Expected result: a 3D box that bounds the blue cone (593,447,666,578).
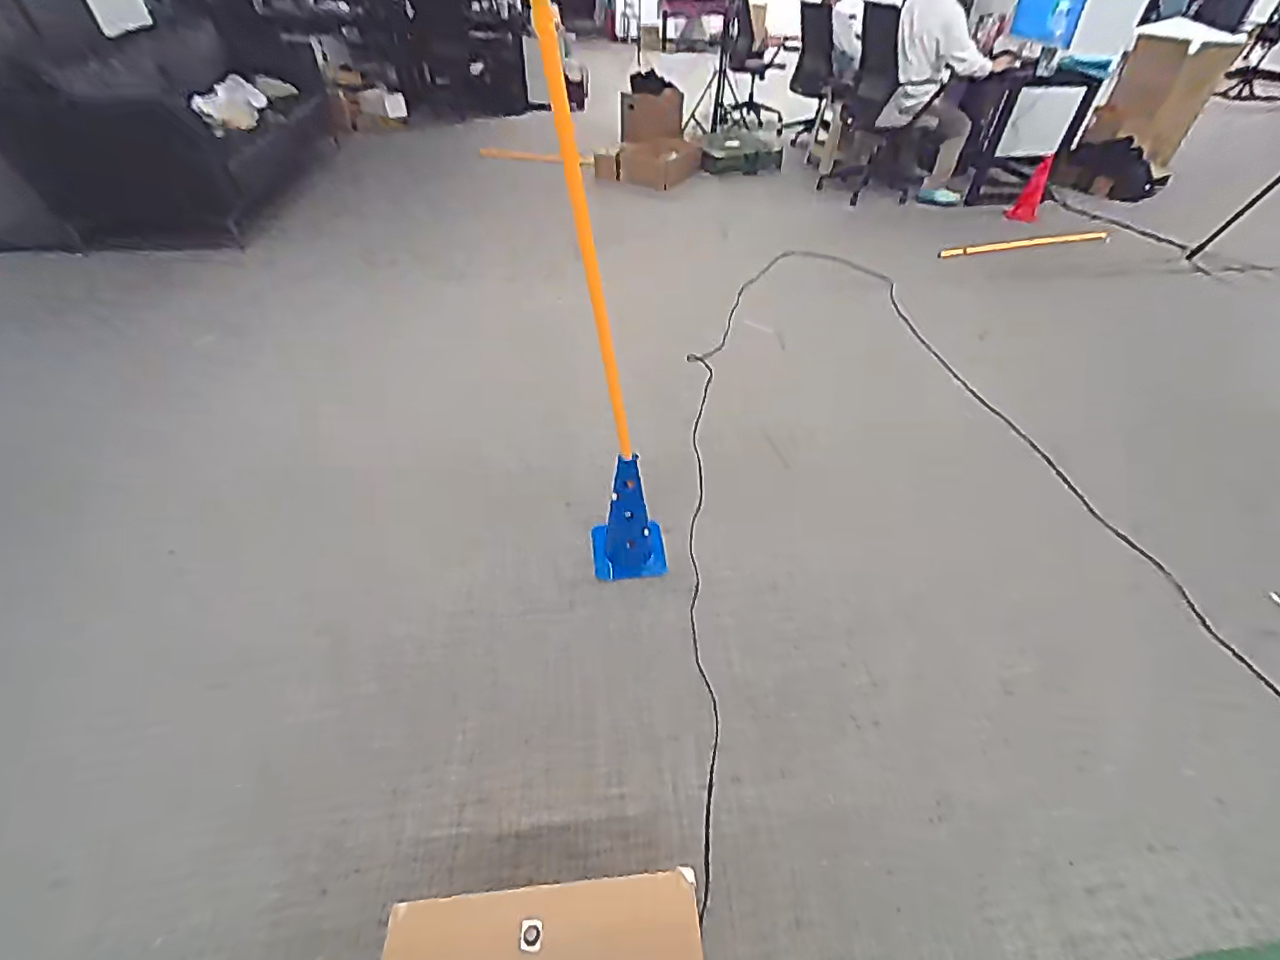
[{"bbox_3d":[-0.032,0.074,1.402,0.193,0.380,0.192,-7,44,-6],"label":"blue cone"}]
